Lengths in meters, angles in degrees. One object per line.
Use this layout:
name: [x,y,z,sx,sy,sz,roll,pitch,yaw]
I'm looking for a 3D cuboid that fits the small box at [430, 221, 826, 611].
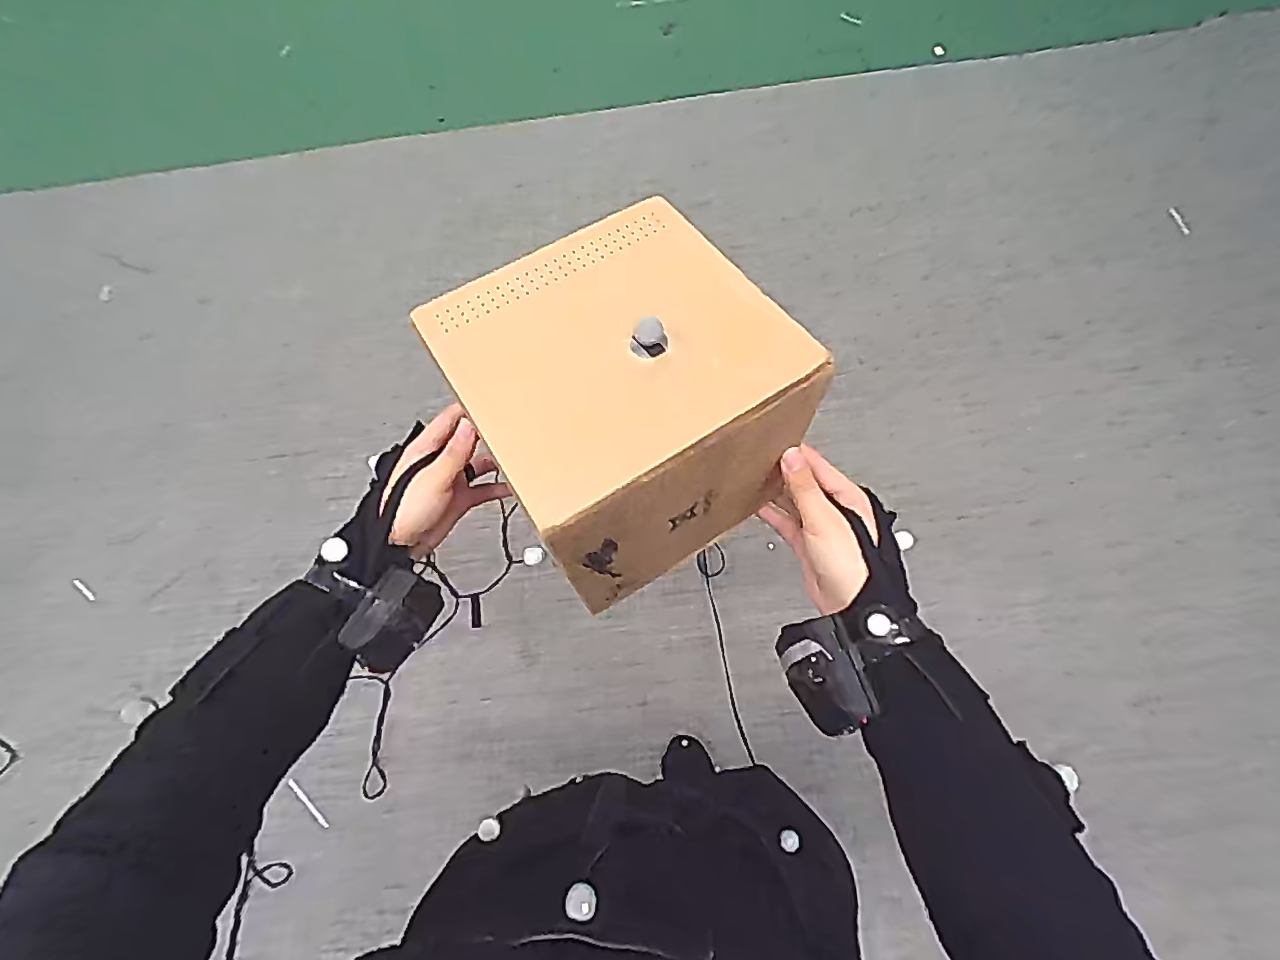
small box: [-0.011,-0.043,0.378,0.179,0.168,0.176,-31,65,-12]
